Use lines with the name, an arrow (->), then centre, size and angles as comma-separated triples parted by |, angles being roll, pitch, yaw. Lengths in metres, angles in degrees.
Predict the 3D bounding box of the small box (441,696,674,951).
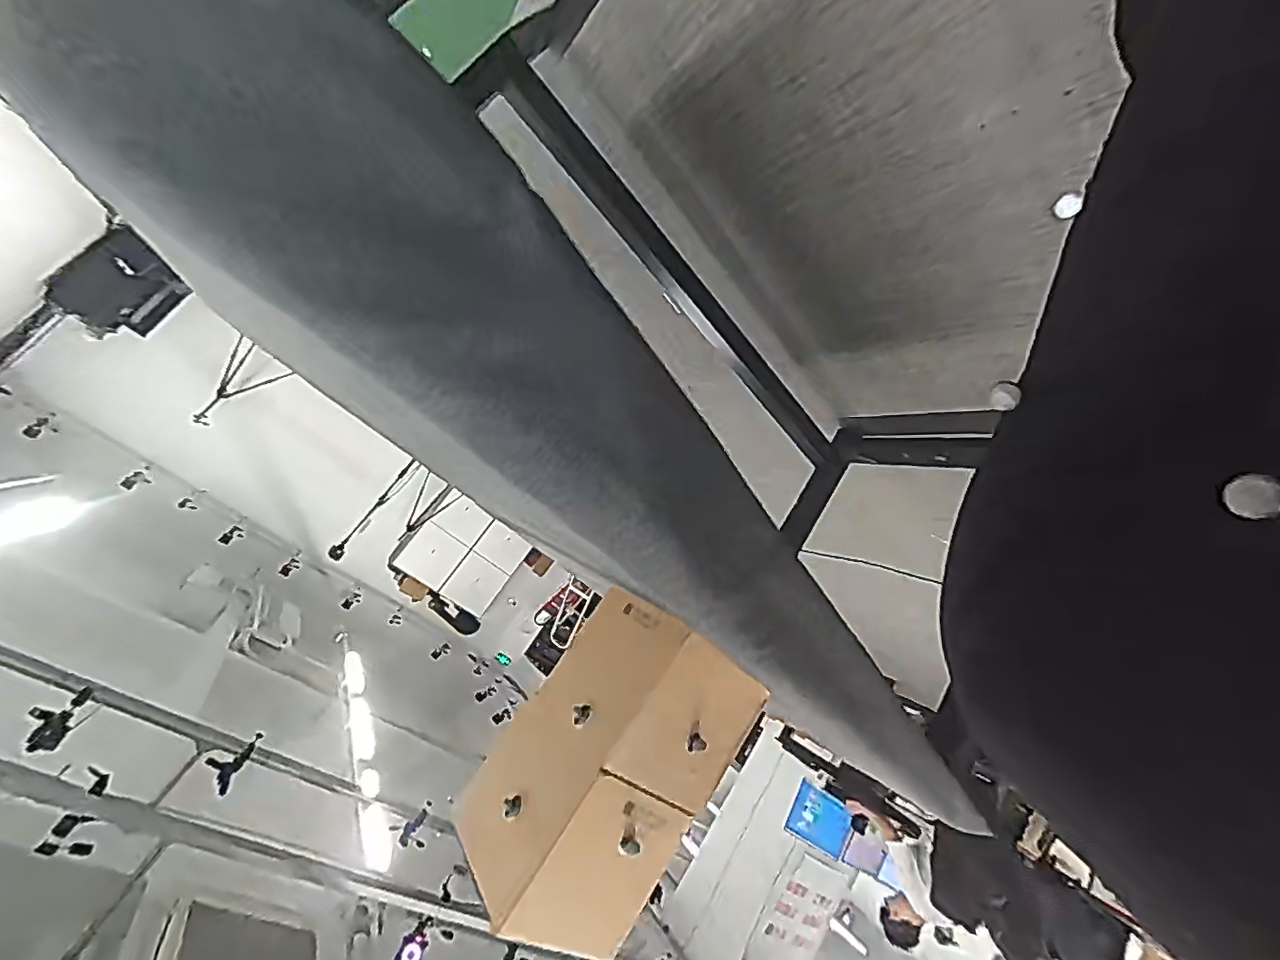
small box -> -0.093, 0.378, 0.626 | 0.168, 0.176, 0.179 | 45, 163, -31

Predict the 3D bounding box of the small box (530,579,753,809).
small box -> 0.006, 0.251, 0.662 | 0.179, 0.176, 0.168 | 44, 164, -30
